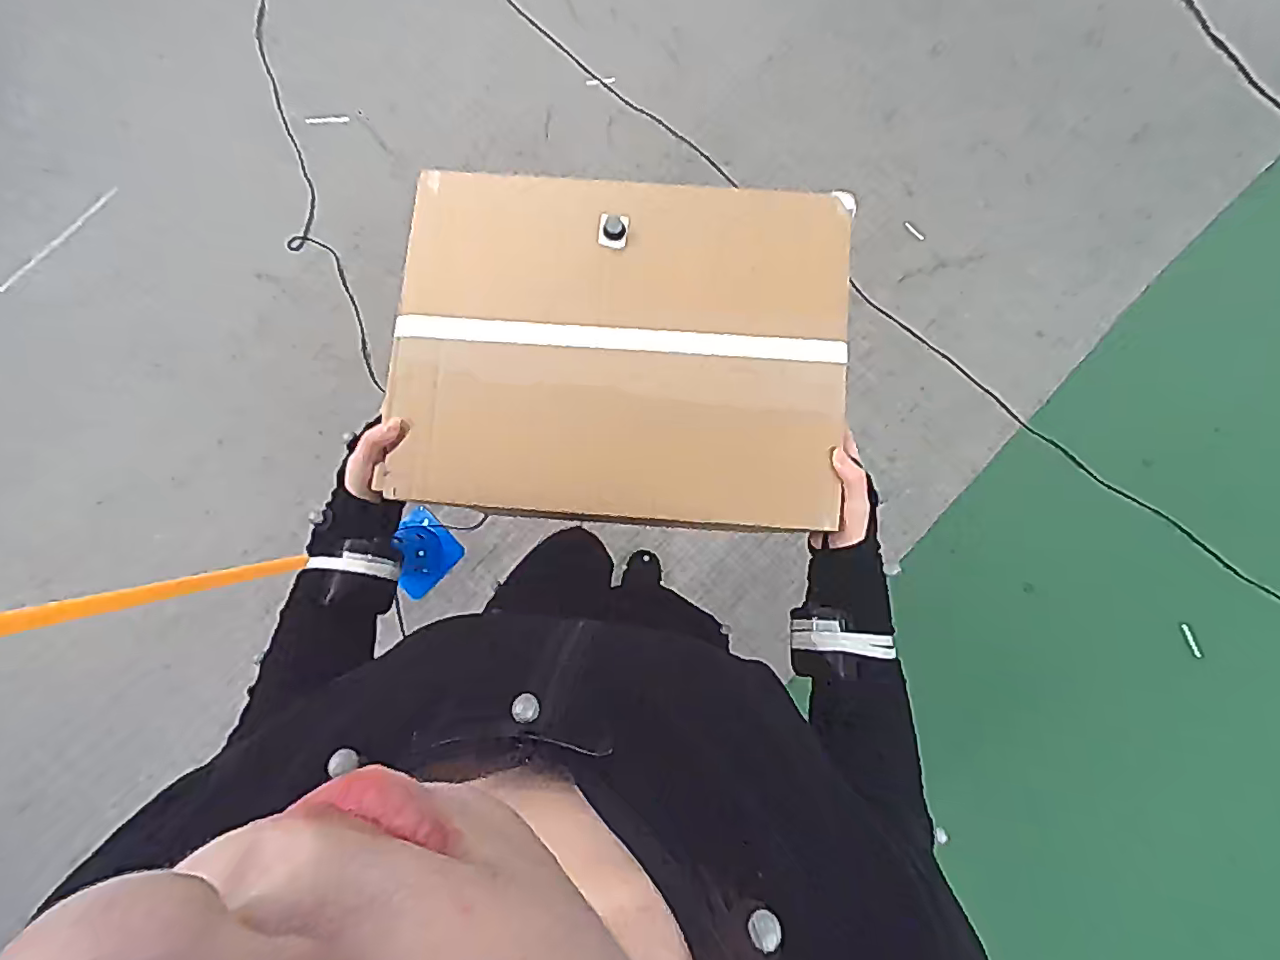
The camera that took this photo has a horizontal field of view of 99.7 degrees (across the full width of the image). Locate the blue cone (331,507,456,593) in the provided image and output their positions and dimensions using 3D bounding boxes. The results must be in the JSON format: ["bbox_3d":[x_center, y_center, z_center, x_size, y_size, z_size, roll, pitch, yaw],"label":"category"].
[{"bbox_3d":[-0.632,0.177,1.341,0.192,0.380,0.193,42,87,6],"label":"blue cone"}]
